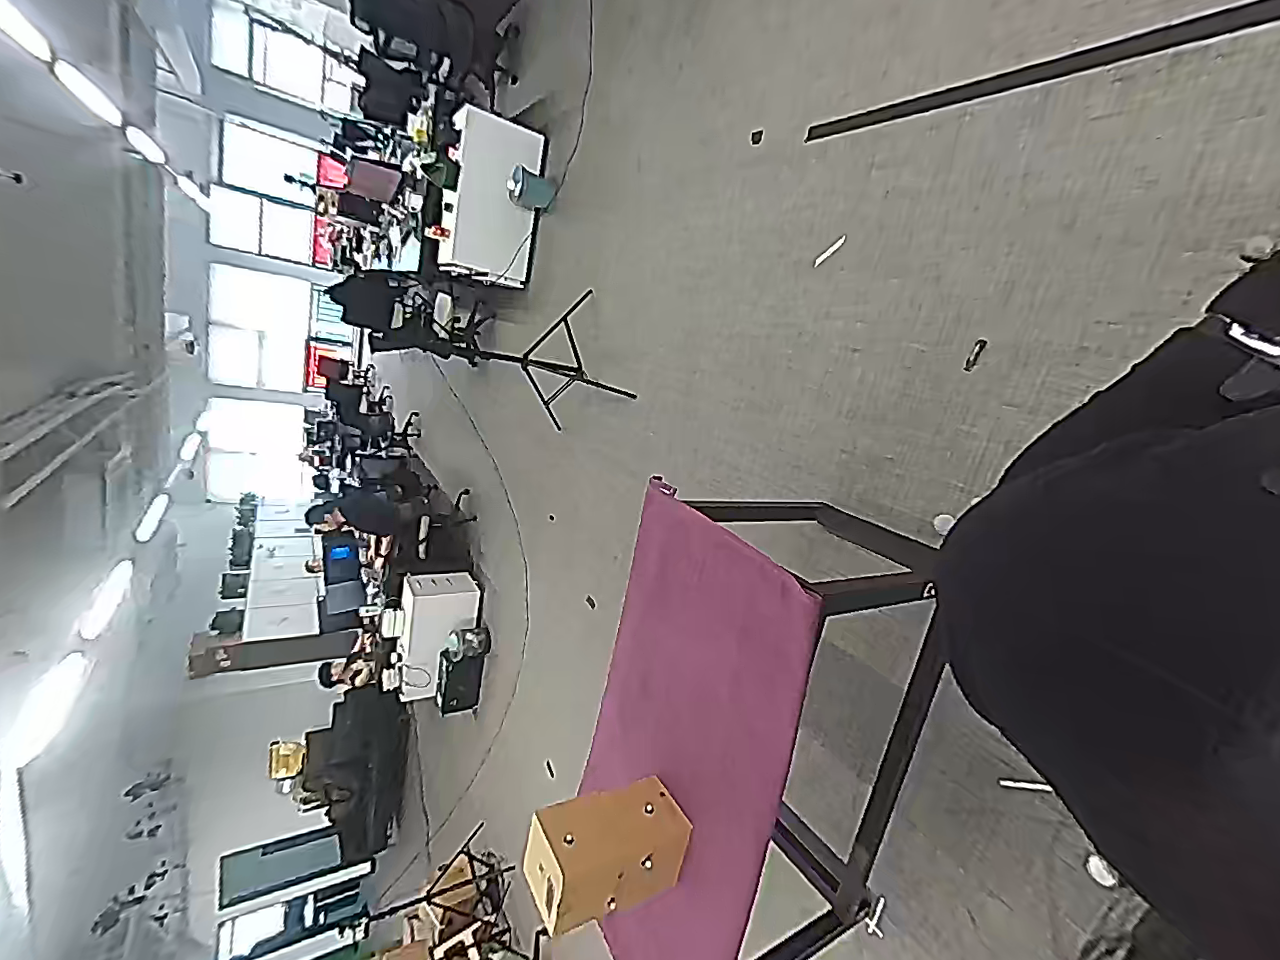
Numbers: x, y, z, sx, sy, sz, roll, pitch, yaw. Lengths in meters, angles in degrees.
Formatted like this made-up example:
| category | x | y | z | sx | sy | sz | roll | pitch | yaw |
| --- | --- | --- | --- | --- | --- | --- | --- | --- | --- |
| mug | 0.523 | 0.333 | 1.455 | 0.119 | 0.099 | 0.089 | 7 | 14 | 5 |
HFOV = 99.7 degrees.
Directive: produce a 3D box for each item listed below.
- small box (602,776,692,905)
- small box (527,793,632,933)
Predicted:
| category | x | y | z | sx | sy | sz | roll | pitch | yaw |
| --- | --- | --- | --- | --- | --- | --- | --- | --- | --- |
| small box | 0.003 | 0.856 | 1.305 | 0.168 | 0.176 | 0.179 | 32 | 115 | 53 |
| small box | -0.138 | 0.848 | 1.220 | 0.179 | 0.176 | 0.168 | 30 | 112 | 54 |
